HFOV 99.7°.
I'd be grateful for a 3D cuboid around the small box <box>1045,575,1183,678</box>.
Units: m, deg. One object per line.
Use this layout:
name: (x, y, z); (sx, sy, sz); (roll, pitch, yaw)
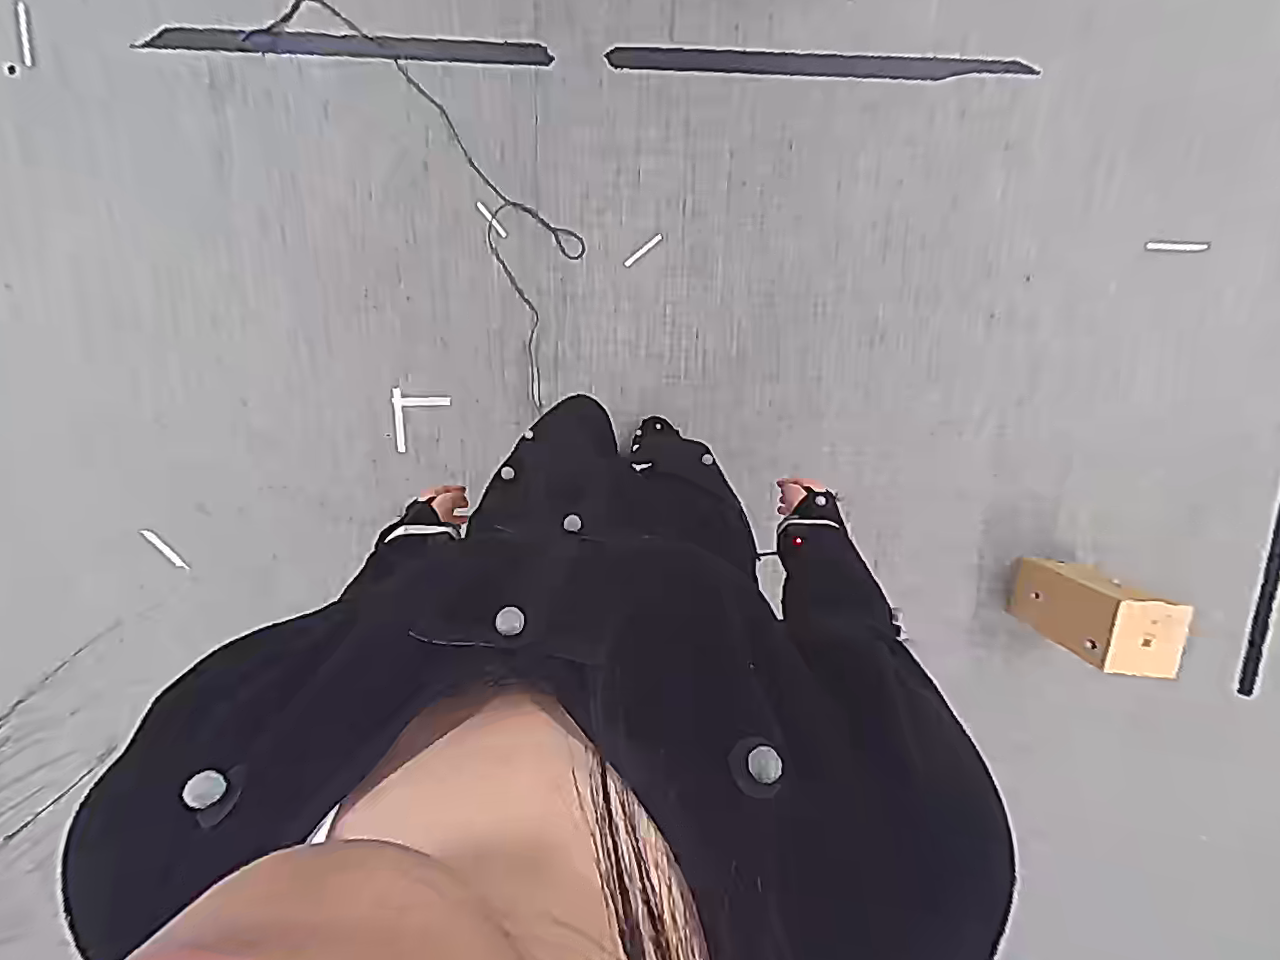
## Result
small box: (1.116, 0.344, 1.291); (0.168, 0.176, 0.179); (6, 99, -1)
